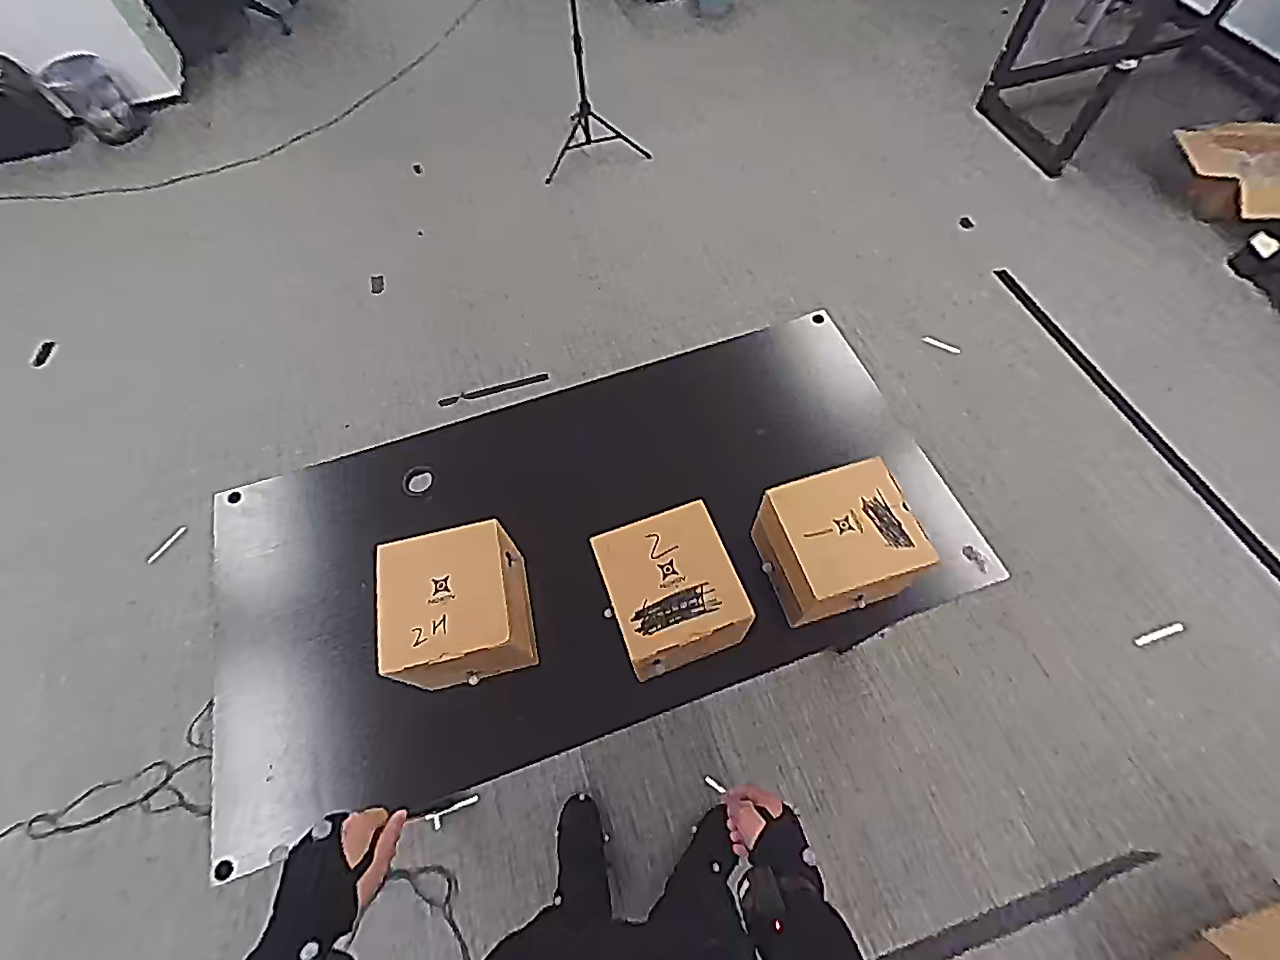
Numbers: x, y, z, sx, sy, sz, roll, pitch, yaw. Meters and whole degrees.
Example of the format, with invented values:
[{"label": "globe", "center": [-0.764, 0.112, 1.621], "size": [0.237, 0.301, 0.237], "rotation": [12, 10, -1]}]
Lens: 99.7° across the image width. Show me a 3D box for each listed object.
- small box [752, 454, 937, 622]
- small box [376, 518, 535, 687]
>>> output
[{"label": "small box", "center": [0.280, 0.090, 0.789], "size": [0.179, 0.176, 0.168], "rotation": [-17, 63, -5]}, {"label": "small box", "center": [-0.256, 0.179, 0.770], "size": [0.168, 0.176, 0.179], "rotation": [-13, 63, -4]}]
